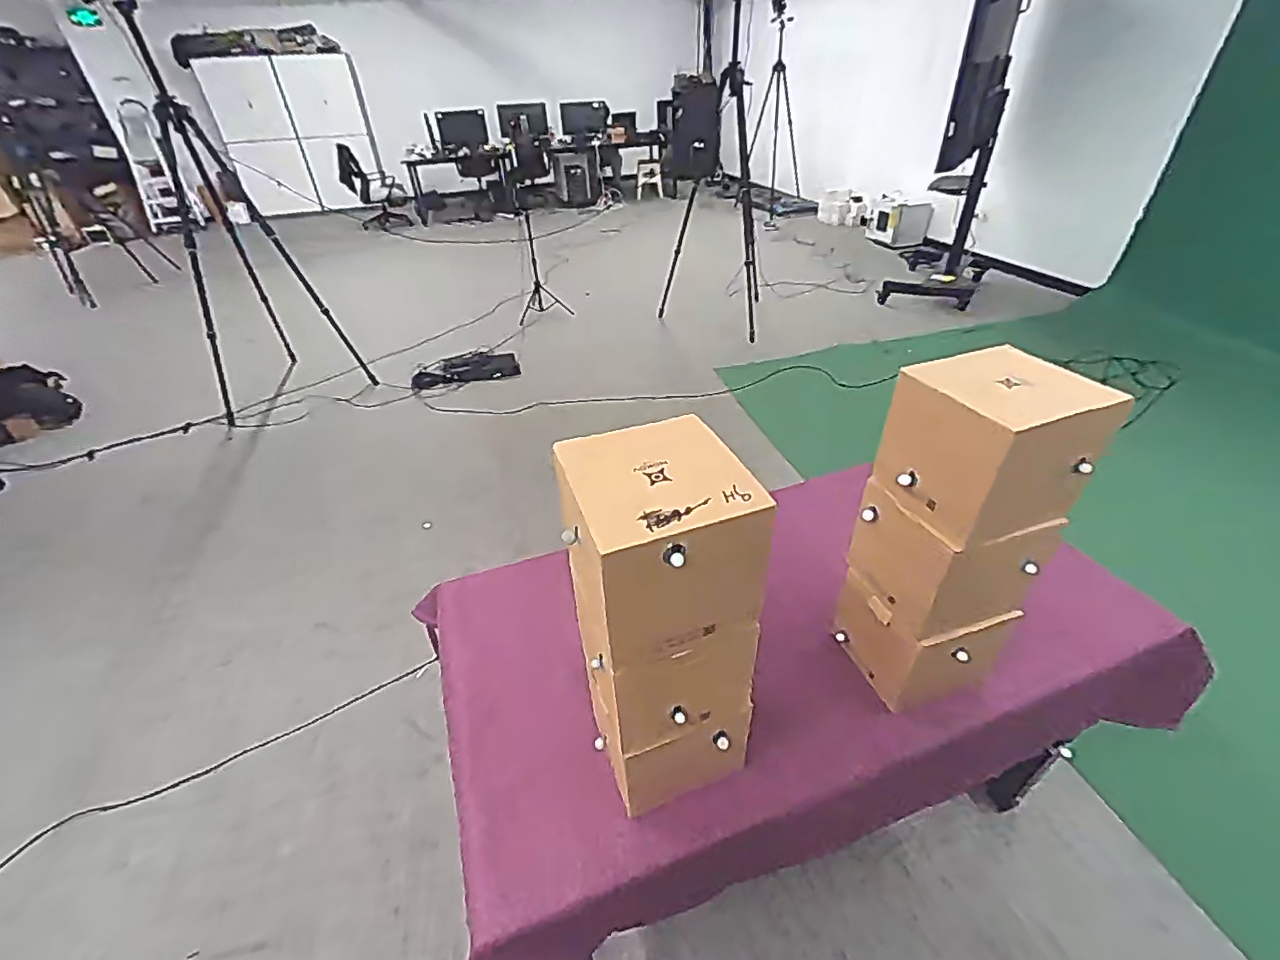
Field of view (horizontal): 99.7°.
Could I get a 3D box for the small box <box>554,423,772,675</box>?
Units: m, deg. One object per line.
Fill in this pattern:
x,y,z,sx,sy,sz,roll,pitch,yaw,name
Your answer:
0.015,0.066,0.566,0.168,0.176,0.179,-14,38,-14,small box

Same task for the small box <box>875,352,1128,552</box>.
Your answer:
0.427,-0.038,0.673,0.179,0.176,0.168,-14,37,-14,small box

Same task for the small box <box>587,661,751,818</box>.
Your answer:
0.034,0.330,0.759,0.179,0.176,0.168,-15,37,-15,small box

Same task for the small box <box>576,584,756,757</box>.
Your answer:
0.022,0.197,0.665,0.168,0.176,0.179,-14,39,-15,small box

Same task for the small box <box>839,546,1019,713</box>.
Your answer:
0.436,0.236,0.853,0.179,0.176,0.168,-13,38,-13,small box
